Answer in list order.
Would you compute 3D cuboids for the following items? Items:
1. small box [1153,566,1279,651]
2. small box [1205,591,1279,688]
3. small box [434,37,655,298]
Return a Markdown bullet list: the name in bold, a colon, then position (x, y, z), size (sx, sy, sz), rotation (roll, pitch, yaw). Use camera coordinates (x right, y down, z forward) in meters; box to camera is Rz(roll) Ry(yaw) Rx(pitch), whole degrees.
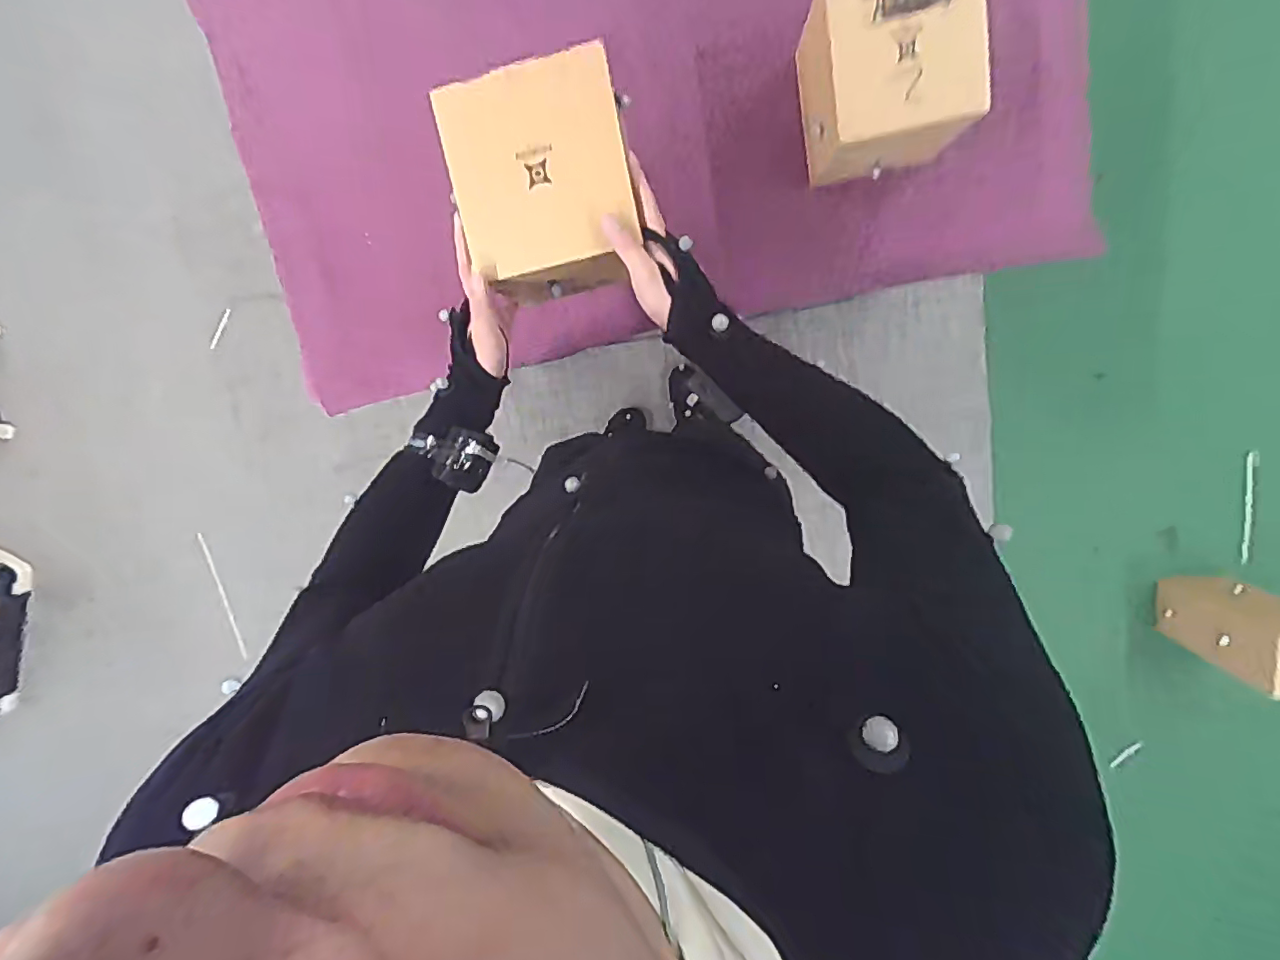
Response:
- **small box**: position (1.583, 0.348, 1.491), size (0.179, 0.176, 0.168), rotation (-8, 101, 7)
- **small box**: position (1.570, 0.385, 1.331), size (0.179, 0.176, 0.168), rotation (-8, 101, 7)
- **small box**: position (-0.082, -0.299, 0.568), size (0.168, 0.176, 0.179), rotation (-12, 99, 6)
